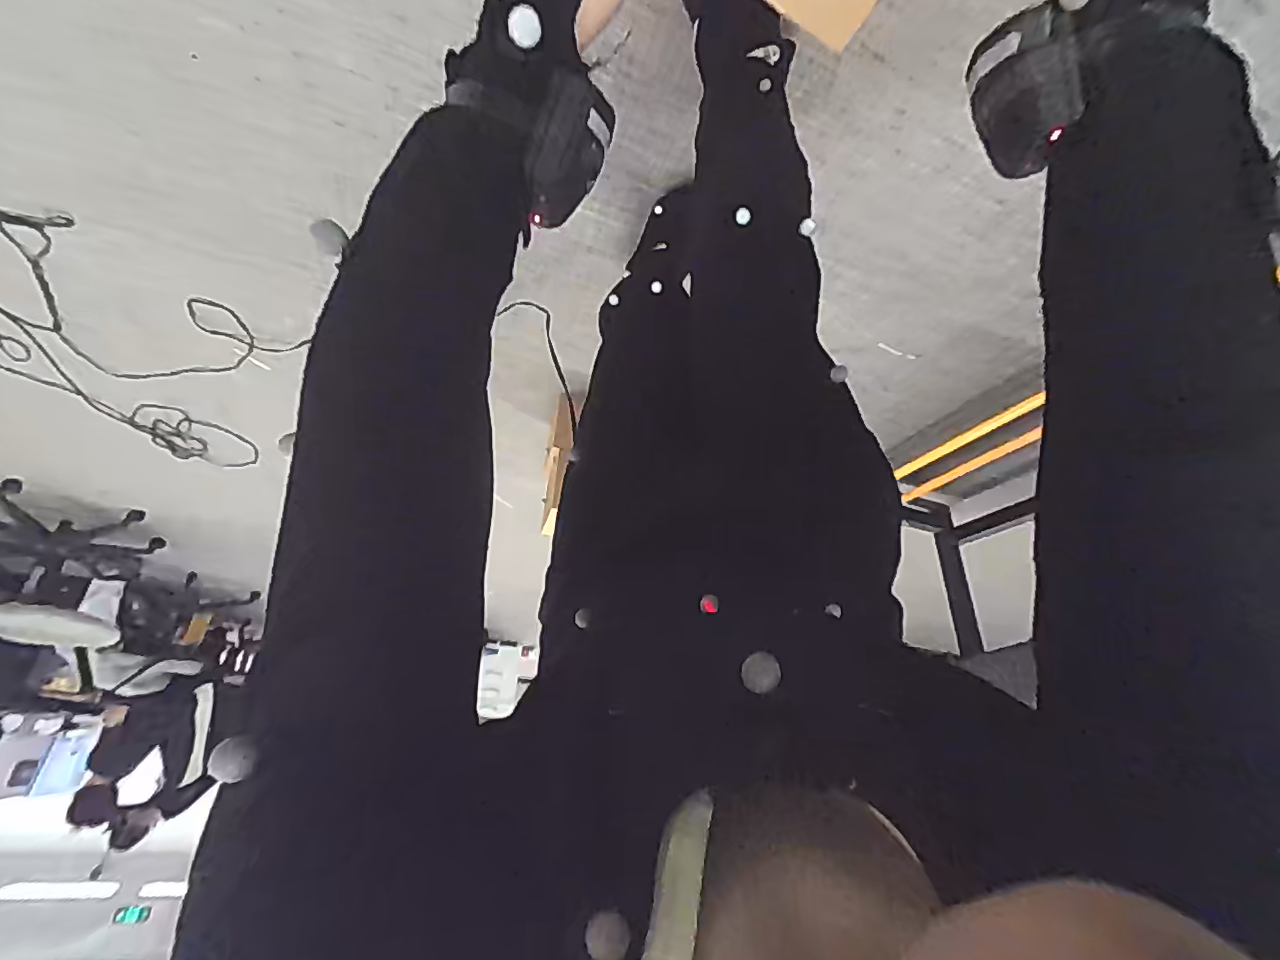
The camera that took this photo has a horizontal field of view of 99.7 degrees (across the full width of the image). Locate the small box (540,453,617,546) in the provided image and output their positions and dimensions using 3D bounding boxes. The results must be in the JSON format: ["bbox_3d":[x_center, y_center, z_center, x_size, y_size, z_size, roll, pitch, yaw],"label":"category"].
[{"bbox_3d":[-0.156,0.052,1.391,0.168,0.176,0.179,9,150,-14],"label":"small box"}]

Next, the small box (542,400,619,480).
[{"bbox_3d":[-0.158,-0.096,1.461,0.179,0.176,0.168,10,151,-14],"label":"small box"}]
